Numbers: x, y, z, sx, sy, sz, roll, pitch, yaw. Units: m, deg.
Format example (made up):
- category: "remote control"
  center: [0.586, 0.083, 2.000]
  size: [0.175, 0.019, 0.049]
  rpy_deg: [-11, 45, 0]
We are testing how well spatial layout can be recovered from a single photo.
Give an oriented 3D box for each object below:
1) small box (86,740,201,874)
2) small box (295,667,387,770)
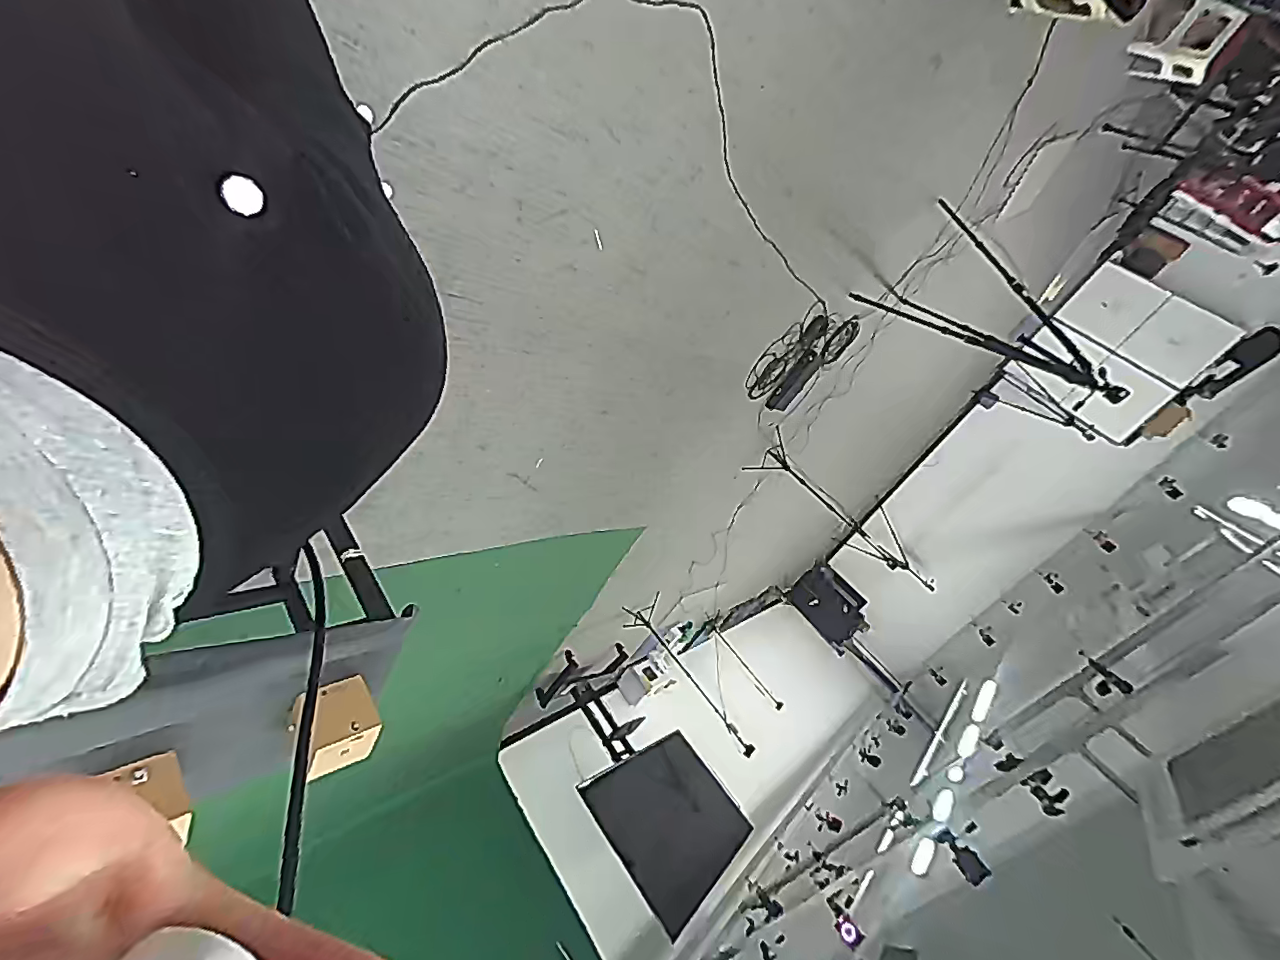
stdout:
- category: "small box"
  center: [-1.128, 0.733, 1.227]
  size: [0.168, 0.176, 0.179]
  rpy_deg: [-9, 138, -50]
- category: "small box"
  center: [-0.837, 0.656, 1.504]
  size: [0.168, 0.176, 0.179]
  rpy_deg: [-8, 139, -50]
